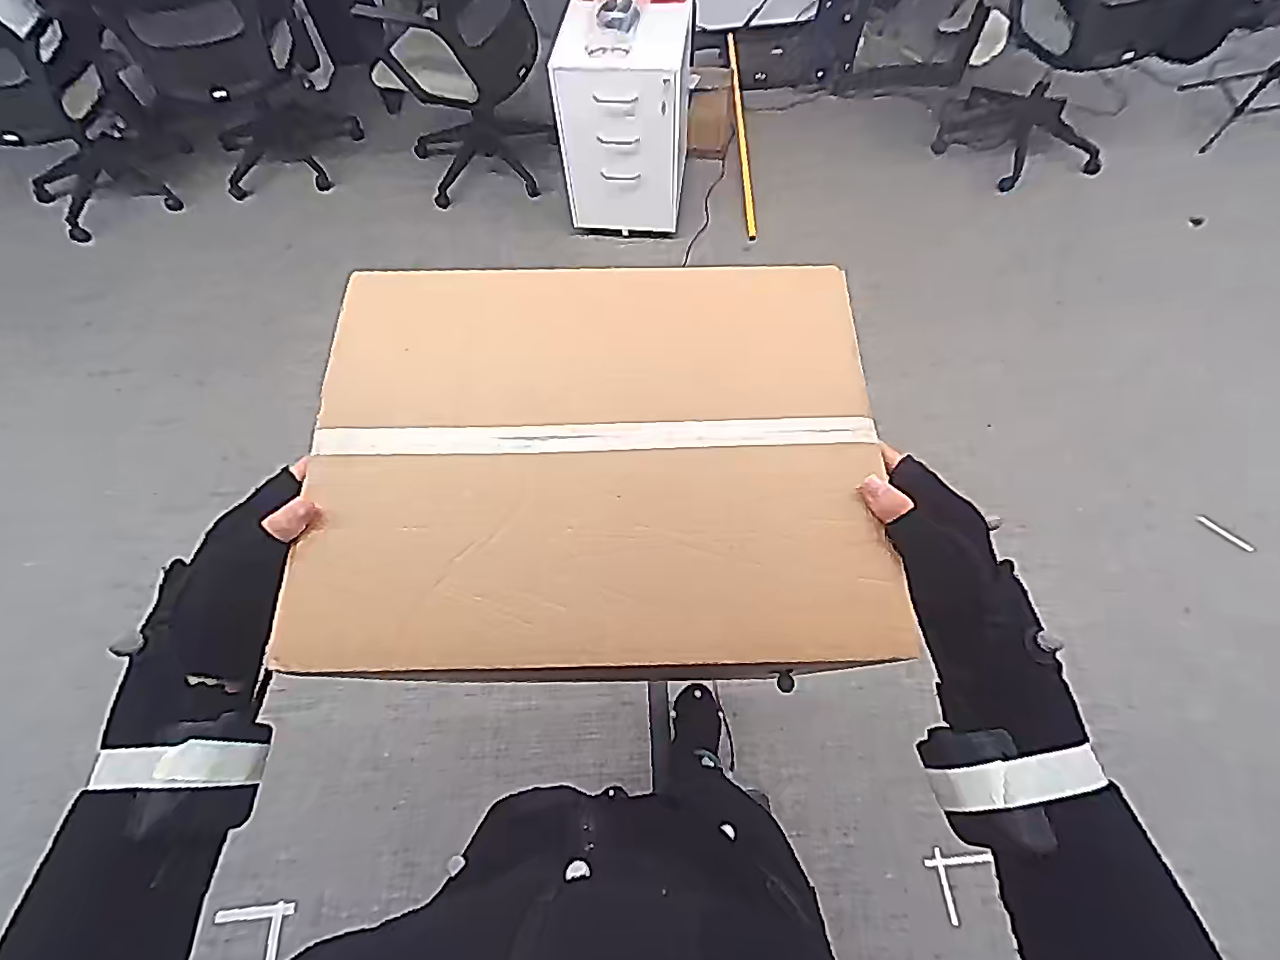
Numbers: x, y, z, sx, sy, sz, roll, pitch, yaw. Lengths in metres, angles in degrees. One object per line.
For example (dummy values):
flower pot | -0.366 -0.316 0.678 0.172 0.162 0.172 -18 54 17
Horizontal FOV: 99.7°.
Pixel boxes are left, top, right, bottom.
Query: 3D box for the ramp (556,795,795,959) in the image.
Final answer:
ramp | 0.078 1.150 0.967 0.509 0.206 0.991 -6 62 1

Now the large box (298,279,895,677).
large box | -0.030 0.029 0.547 0.408 0.320 0.320 -1 68 0
